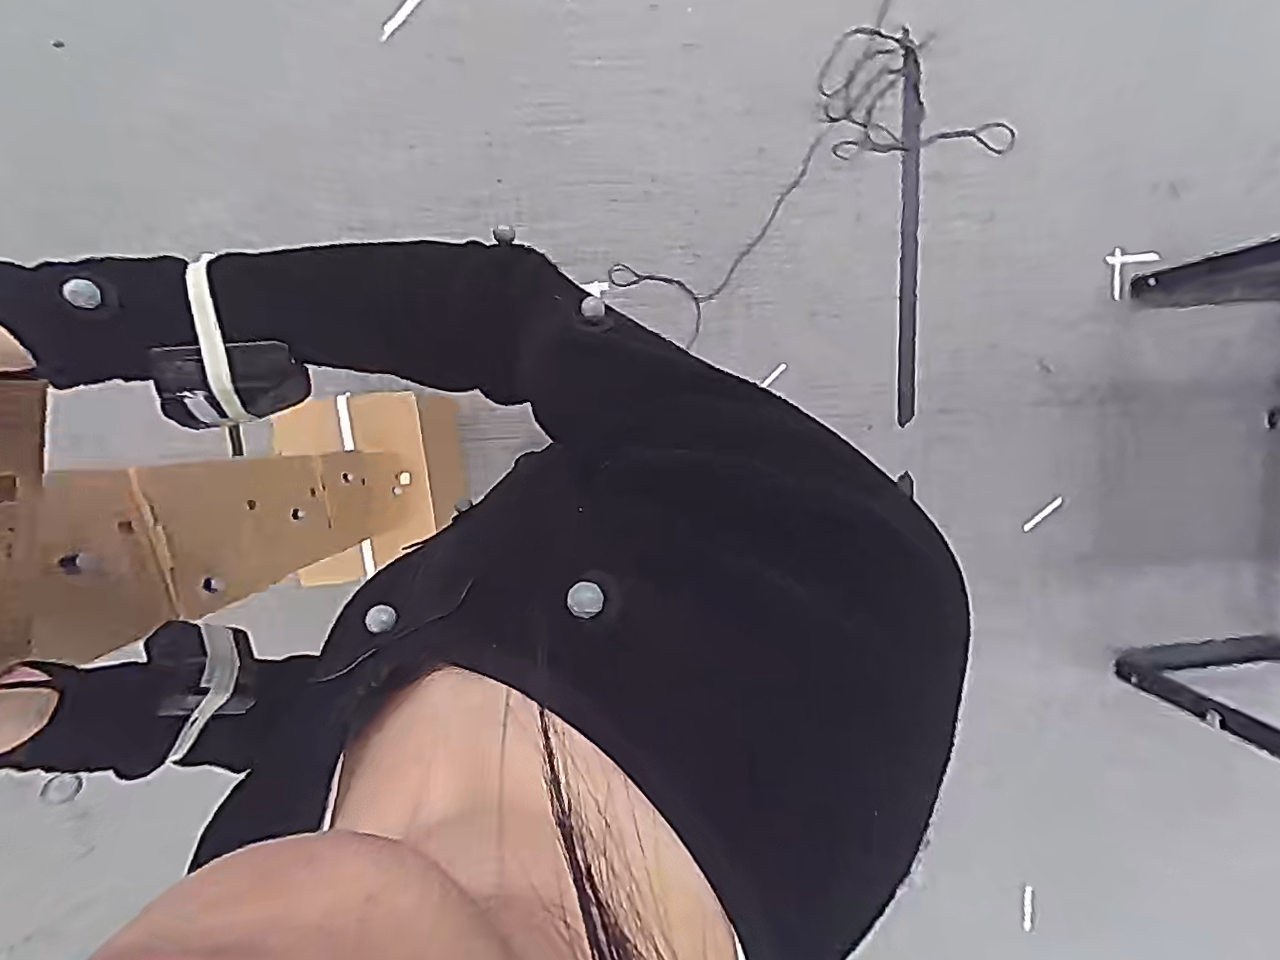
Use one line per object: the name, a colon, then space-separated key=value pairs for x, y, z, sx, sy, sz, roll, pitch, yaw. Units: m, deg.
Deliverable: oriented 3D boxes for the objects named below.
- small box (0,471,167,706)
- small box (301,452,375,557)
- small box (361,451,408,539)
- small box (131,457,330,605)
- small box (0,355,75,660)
small box: x=-0.549 y=0.094 z=0.447 sx=0.179 sy=0.176 sz=0.168 roll=-16 pitch=95 yaw=-3
small box: x=-0.582 y=0.044 z=0.936 sx=0.179 sy=0.176 sz=0.168 roll=-8 pitch=95 yaw=-2
small box: x=-0.598 y=0.033 z=1.097 sx=0.179 sy=0.176 sz=0.168 roll=-7 pitch=96 yaw=-4
small box: x=-0.575 y=0.064 z=0.773 sx=0.179 sy=0.176 sz=0.168 roll=-12 pitch=95 yaw=-3
small box: x=-0.388 y=0.016 z=0.213 sx=0.179 sy=0.176 sz=0.168 roll=8 pitch=96 yaw=-16
